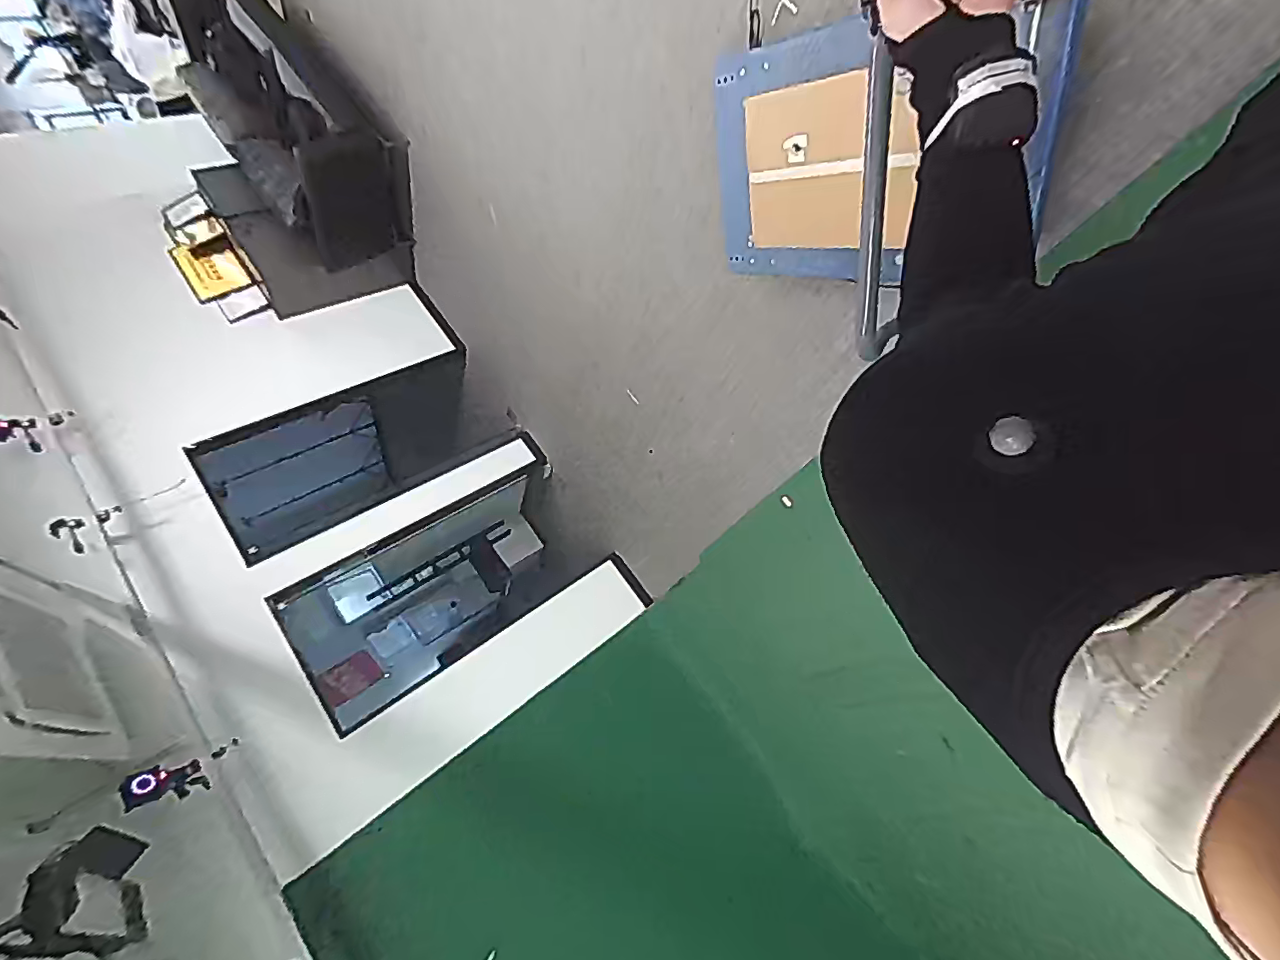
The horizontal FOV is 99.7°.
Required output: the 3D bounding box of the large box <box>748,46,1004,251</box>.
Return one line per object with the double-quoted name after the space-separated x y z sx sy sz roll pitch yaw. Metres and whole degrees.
0.501 -0.706 1.190 0.408 0.320 0.320 26 136 46 "large box"
